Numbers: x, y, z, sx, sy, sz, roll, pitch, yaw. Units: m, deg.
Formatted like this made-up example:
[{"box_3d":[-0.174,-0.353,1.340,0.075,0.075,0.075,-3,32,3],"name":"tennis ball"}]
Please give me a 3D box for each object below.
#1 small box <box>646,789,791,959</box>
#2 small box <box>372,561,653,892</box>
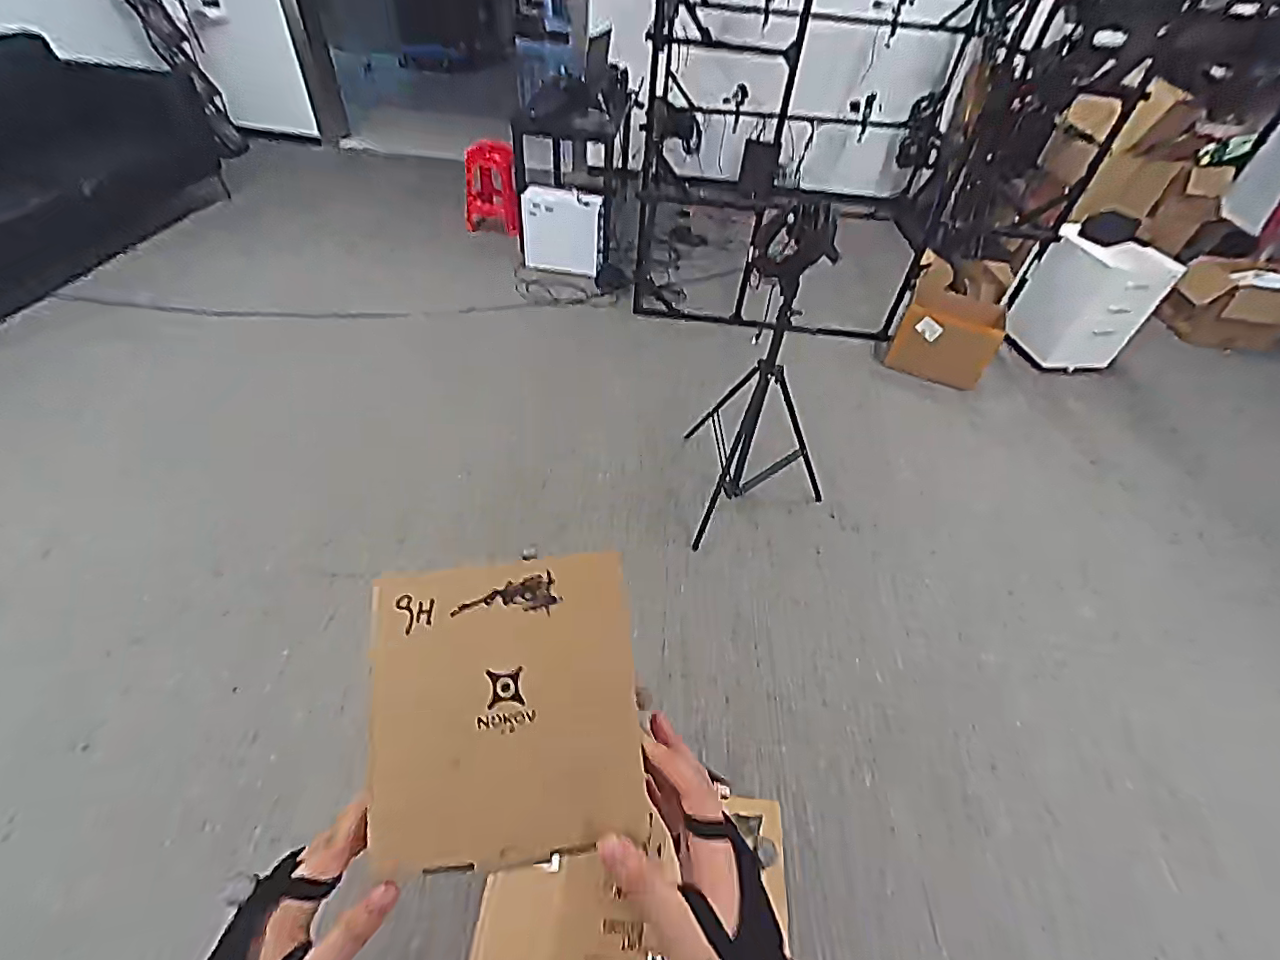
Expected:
[{"box_3d":[0.105,0.573,0.775,0.168,0.176,0.179,9,47,0],"name":"small box"},{"box_3d":[-0.082,0.164,0.408,0.168,0.176,0.179,-6,74,-4],"name":"small box"}]
